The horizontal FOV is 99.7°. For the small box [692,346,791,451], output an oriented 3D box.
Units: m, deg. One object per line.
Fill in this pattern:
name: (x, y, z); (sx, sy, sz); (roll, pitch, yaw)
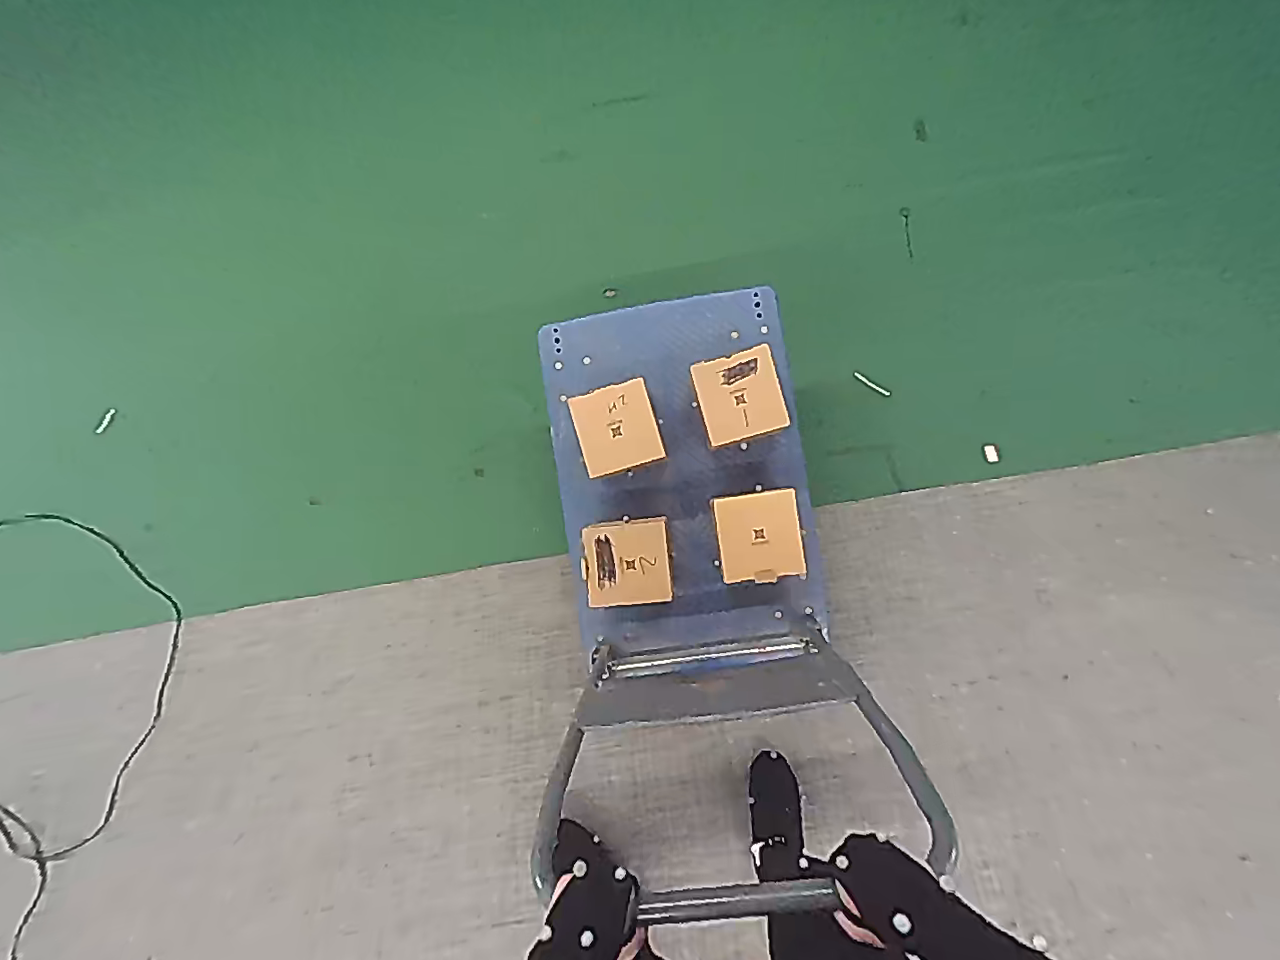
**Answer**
small box: (0.212, -0.169, 1.179); (0.168, 0.176, 0.179); (-15, 89, 5)

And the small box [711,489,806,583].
small box: (0.249, 0.116, 1.174); (0.168, 0.176, 0.179); (-8, 89, 4)

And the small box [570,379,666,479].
small box: (-0.040, -0.106, 1.198); (0.168, 0.176, 0.179); (-16, 88, 3)
